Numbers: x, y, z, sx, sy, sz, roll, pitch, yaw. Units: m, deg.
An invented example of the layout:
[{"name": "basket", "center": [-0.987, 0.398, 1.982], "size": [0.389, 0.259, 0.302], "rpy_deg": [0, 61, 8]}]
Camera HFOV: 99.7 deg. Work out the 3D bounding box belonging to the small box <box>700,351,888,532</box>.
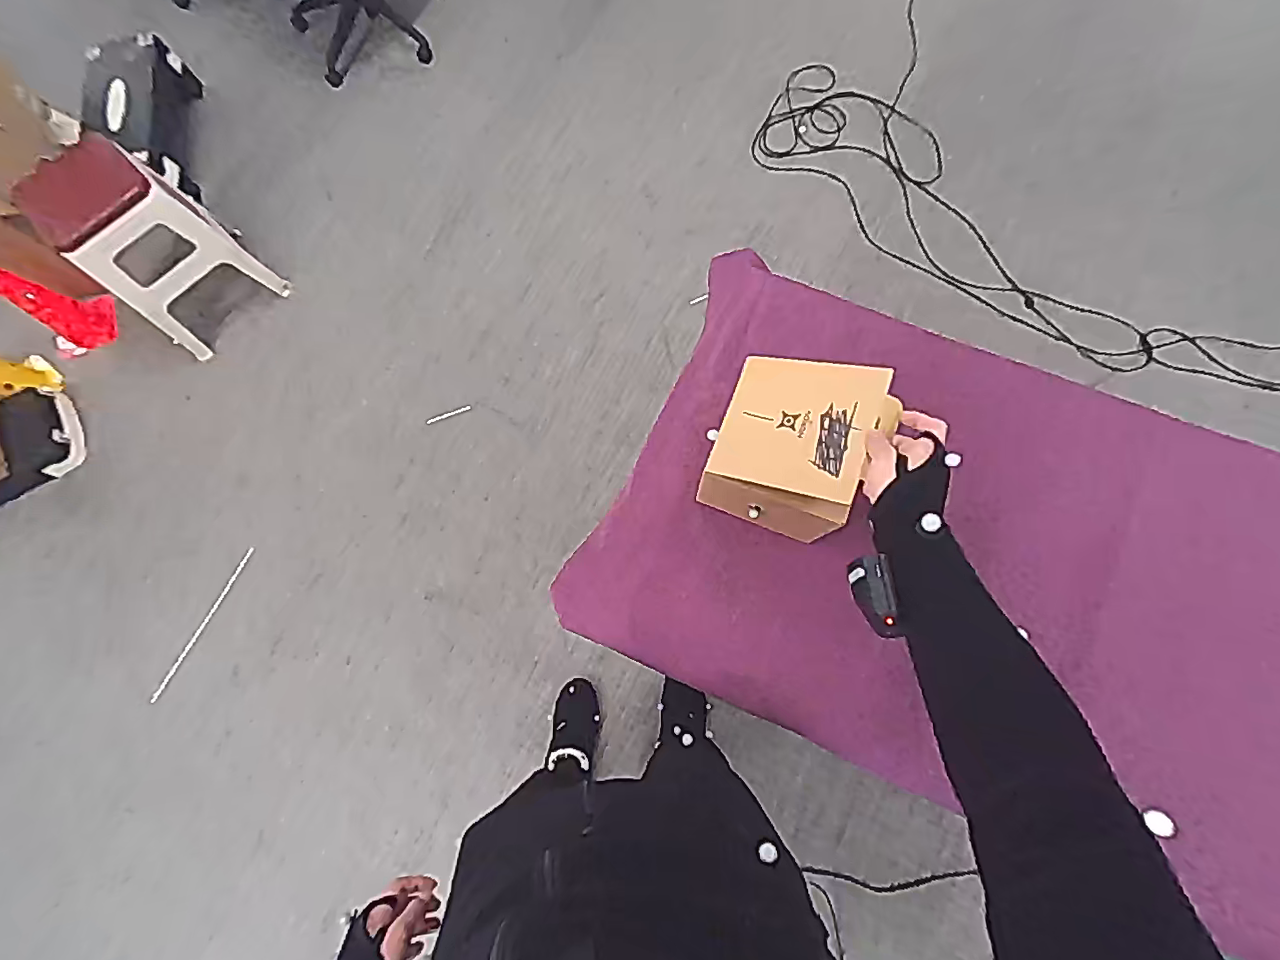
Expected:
[{"name": "small box", "center": [0.192, -0.039, 0.724], "size": [0.179, 0.176, 0.168], "rpy_deg": [23, 78, 9]}]
